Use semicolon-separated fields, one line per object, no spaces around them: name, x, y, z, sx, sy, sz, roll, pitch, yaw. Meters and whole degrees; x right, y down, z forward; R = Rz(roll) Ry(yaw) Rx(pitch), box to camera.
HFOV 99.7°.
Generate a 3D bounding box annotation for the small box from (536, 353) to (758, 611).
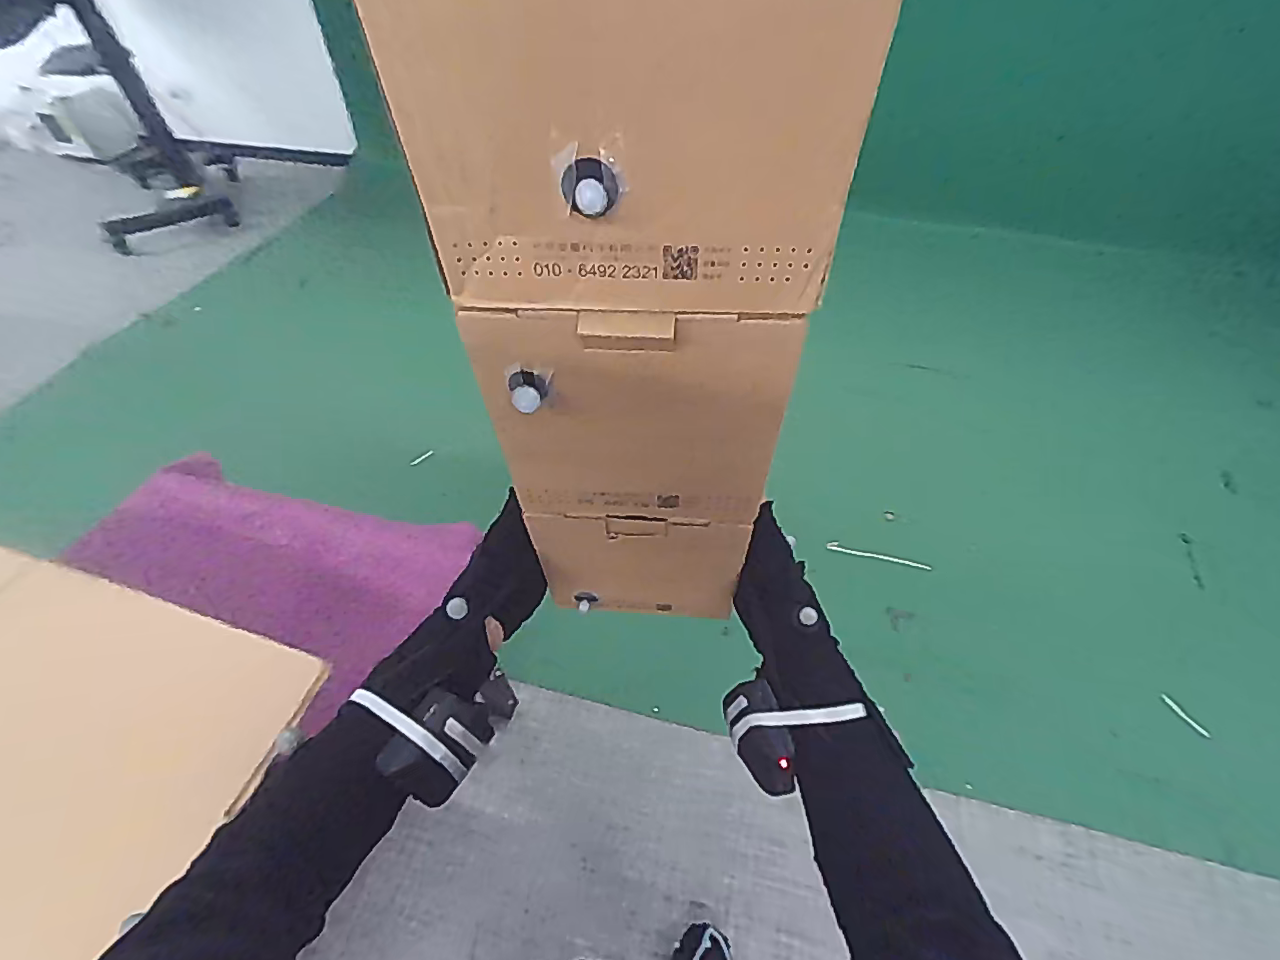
small box;0.014;0.007;0.500;0.168;0.176;0.179;4;53;4
